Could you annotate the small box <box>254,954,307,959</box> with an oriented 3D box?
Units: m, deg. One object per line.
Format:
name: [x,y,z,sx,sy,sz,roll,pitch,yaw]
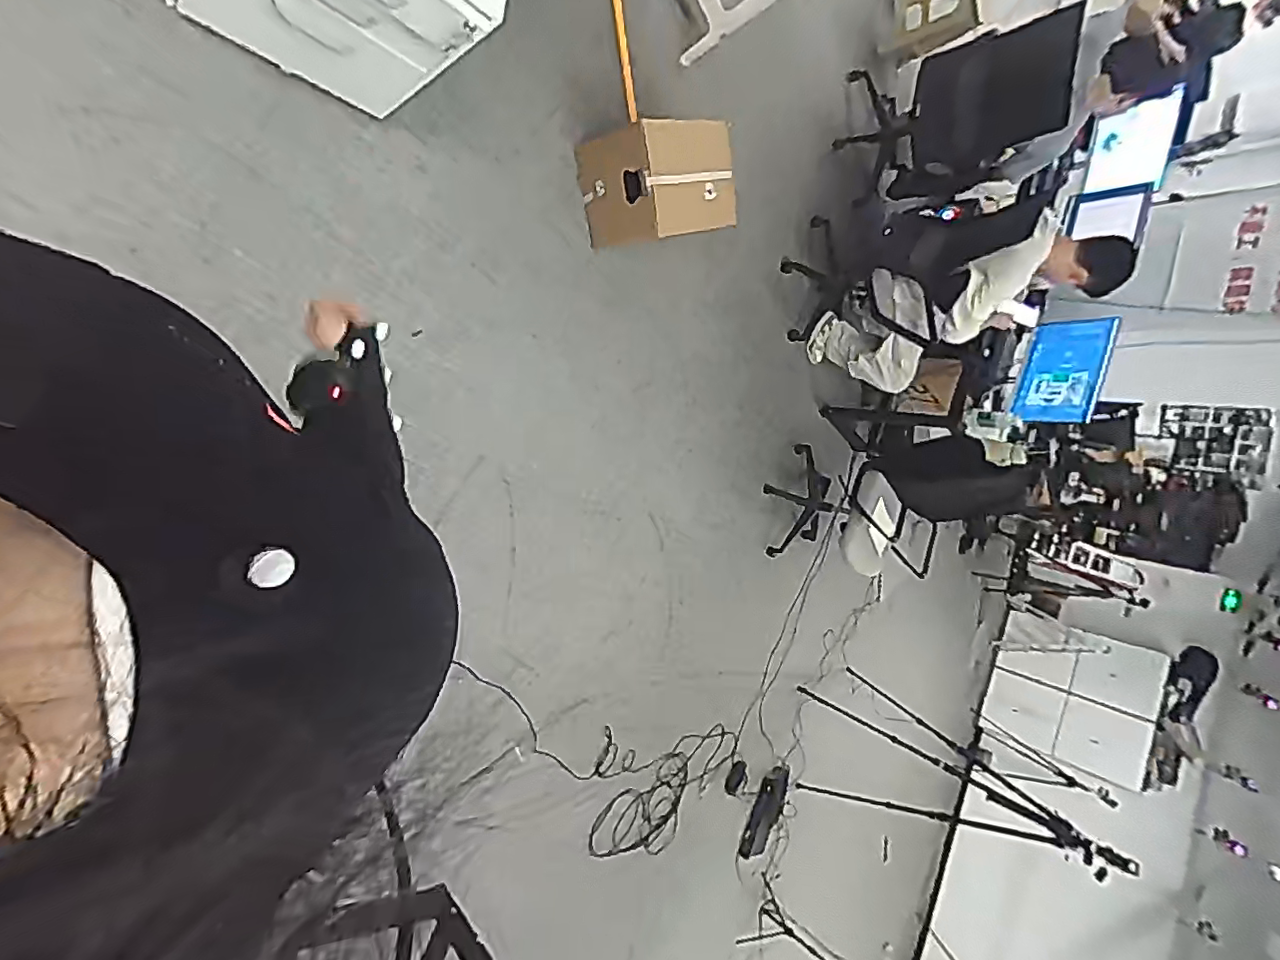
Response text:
small box: [-0.975,1.396,1.421,0.168,0.176,0.179,47,65,-40]
